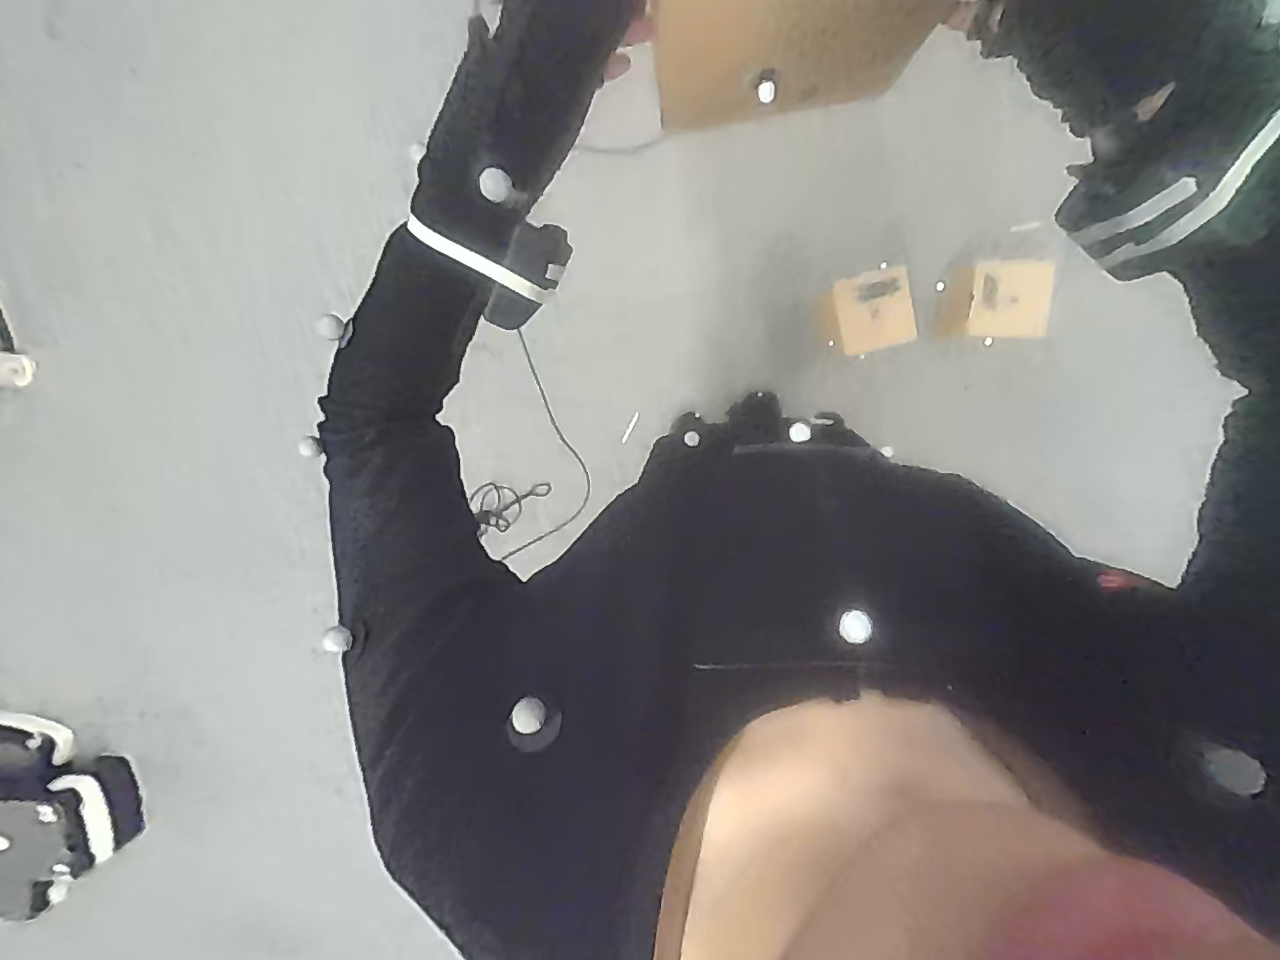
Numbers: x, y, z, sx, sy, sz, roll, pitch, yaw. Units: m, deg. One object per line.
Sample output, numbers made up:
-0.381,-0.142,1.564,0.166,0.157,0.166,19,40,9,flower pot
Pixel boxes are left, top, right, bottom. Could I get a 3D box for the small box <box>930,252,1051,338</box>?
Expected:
0.818,-0.431,1.282,0.179,0.176,0.168,3,99,2,small box
